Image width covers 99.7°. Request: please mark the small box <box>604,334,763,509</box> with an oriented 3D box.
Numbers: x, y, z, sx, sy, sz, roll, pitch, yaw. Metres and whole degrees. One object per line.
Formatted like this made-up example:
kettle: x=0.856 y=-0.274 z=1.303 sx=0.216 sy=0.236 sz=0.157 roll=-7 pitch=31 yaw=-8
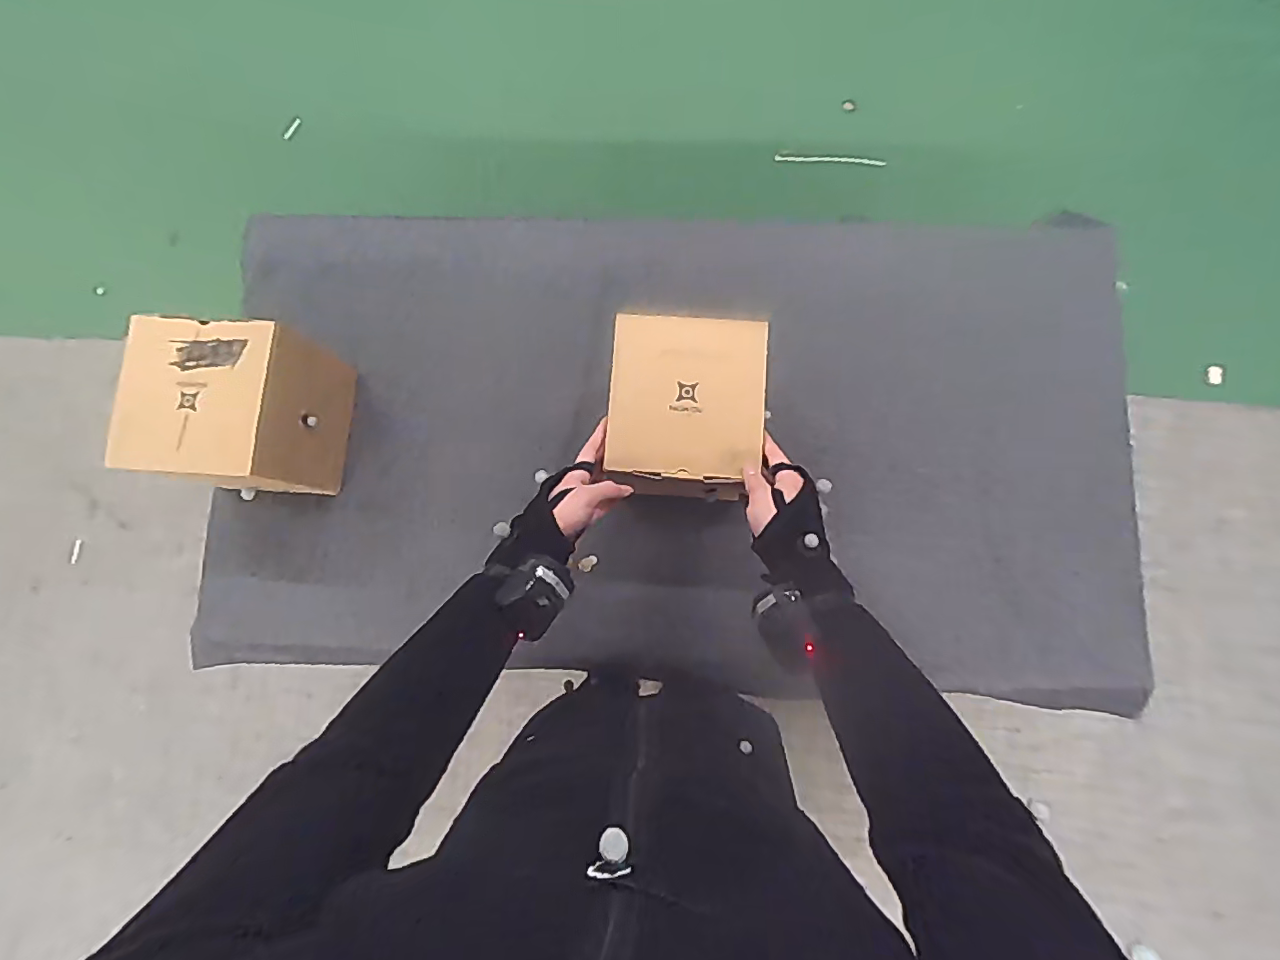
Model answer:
small box: x=0.050 y=-0.059 z=0.658 sx=0.168 sy=0.176 sz=0.179 roll=3 pitch=80 yaw=1
